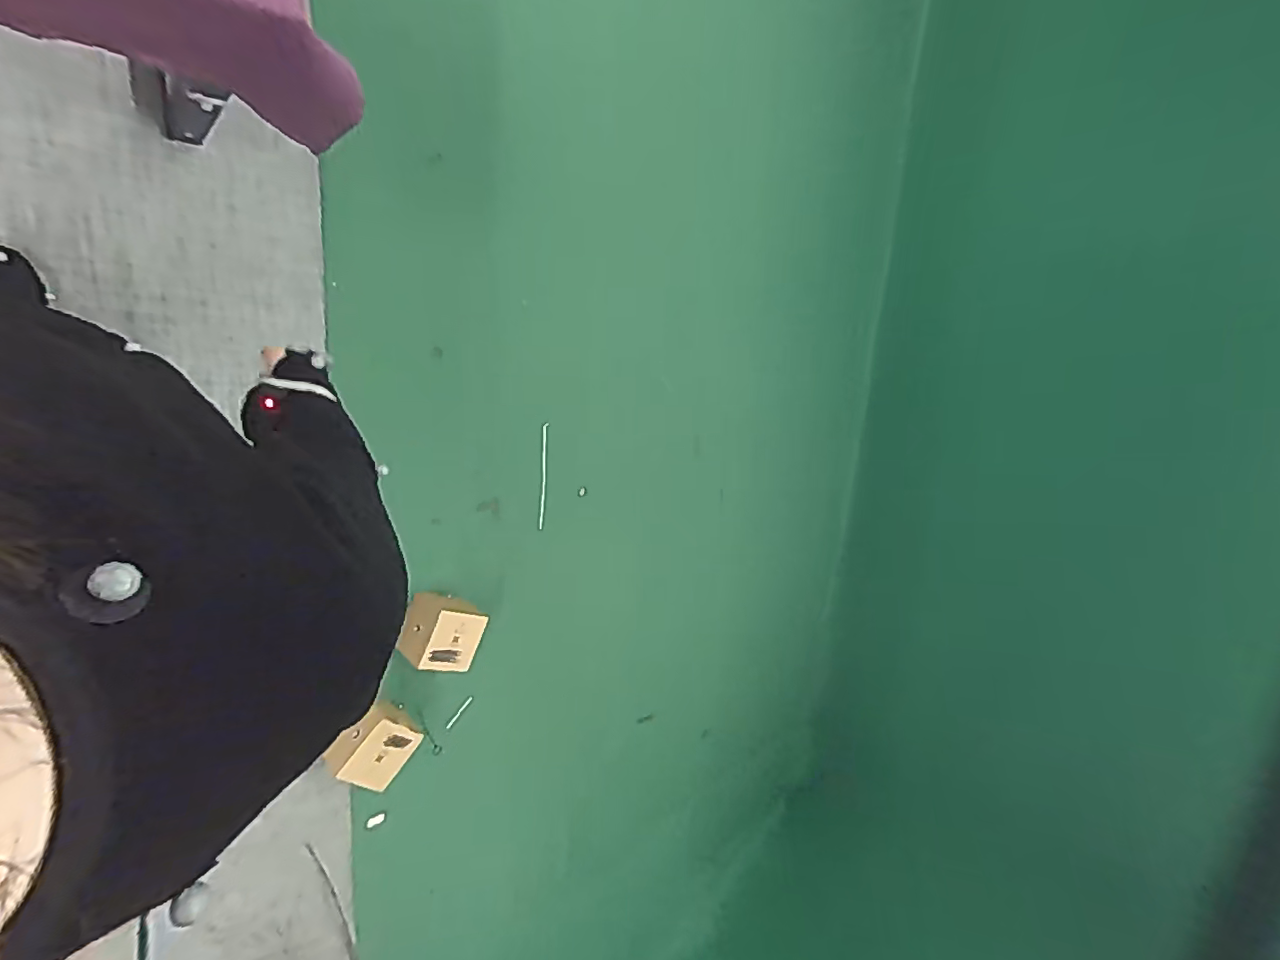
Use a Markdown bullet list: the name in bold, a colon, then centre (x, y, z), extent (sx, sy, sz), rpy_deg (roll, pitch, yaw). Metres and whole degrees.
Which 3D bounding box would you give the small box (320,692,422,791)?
- **small box**: centre (-0.769, 0.738, 1.539), extent (0.179, 0.176, 0.168), rpy_deg (-53, 133, -19)
